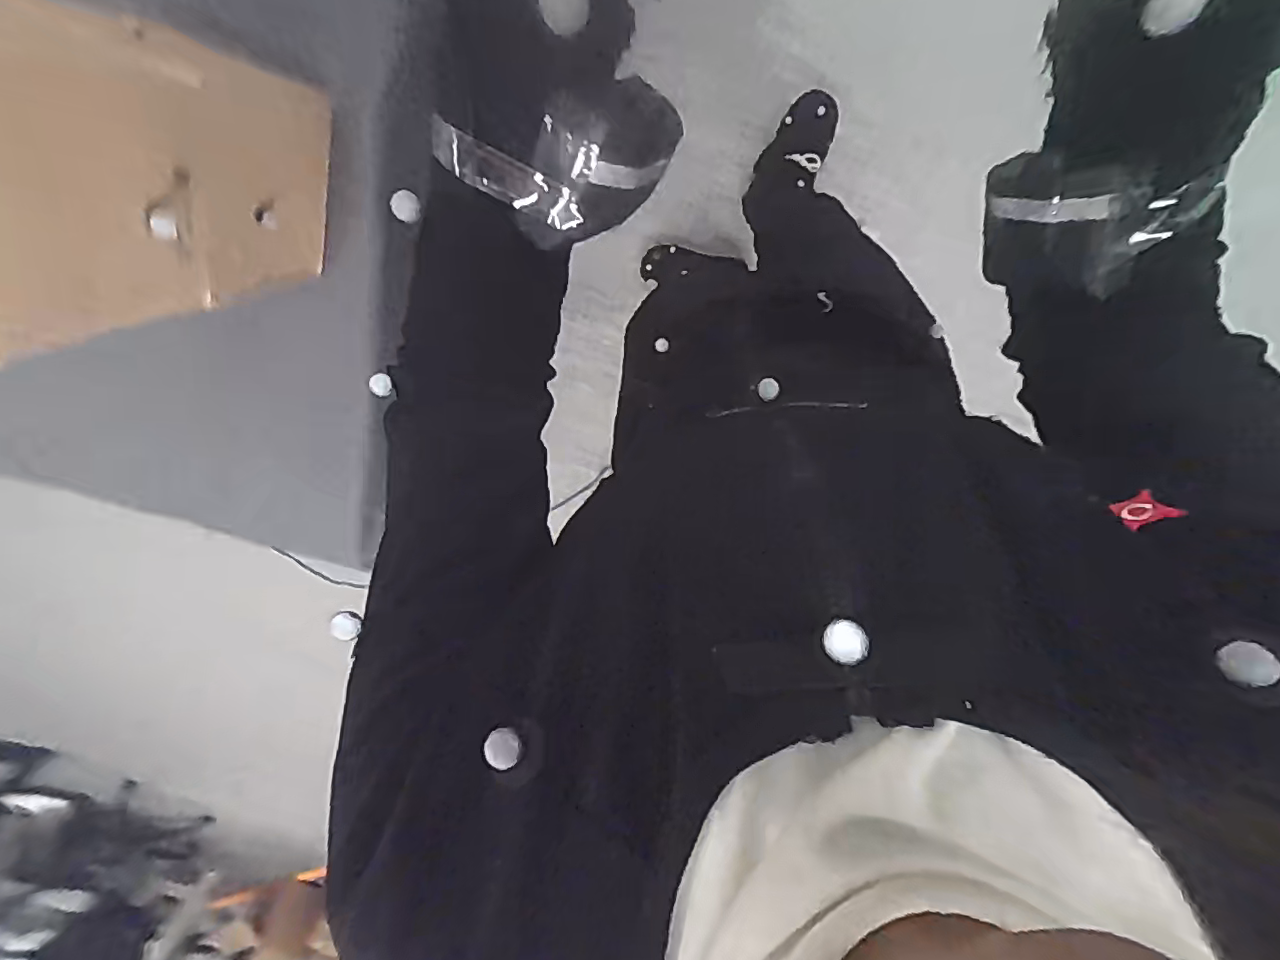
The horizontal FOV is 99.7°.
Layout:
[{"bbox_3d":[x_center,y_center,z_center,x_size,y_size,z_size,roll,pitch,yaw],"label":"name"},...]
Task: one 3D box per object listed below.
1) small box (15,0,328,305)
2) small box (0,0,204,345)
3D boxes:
[{"bbox_3d":[-0.409,-0.287,0.484,0.168,0.176,0.179,21,121,-7],"label":"small box"},{"bbox_3d":[-0.428,-0.207,0.341,0.179,0.176,0.168,21,120,-8],"label":"small box"}]
